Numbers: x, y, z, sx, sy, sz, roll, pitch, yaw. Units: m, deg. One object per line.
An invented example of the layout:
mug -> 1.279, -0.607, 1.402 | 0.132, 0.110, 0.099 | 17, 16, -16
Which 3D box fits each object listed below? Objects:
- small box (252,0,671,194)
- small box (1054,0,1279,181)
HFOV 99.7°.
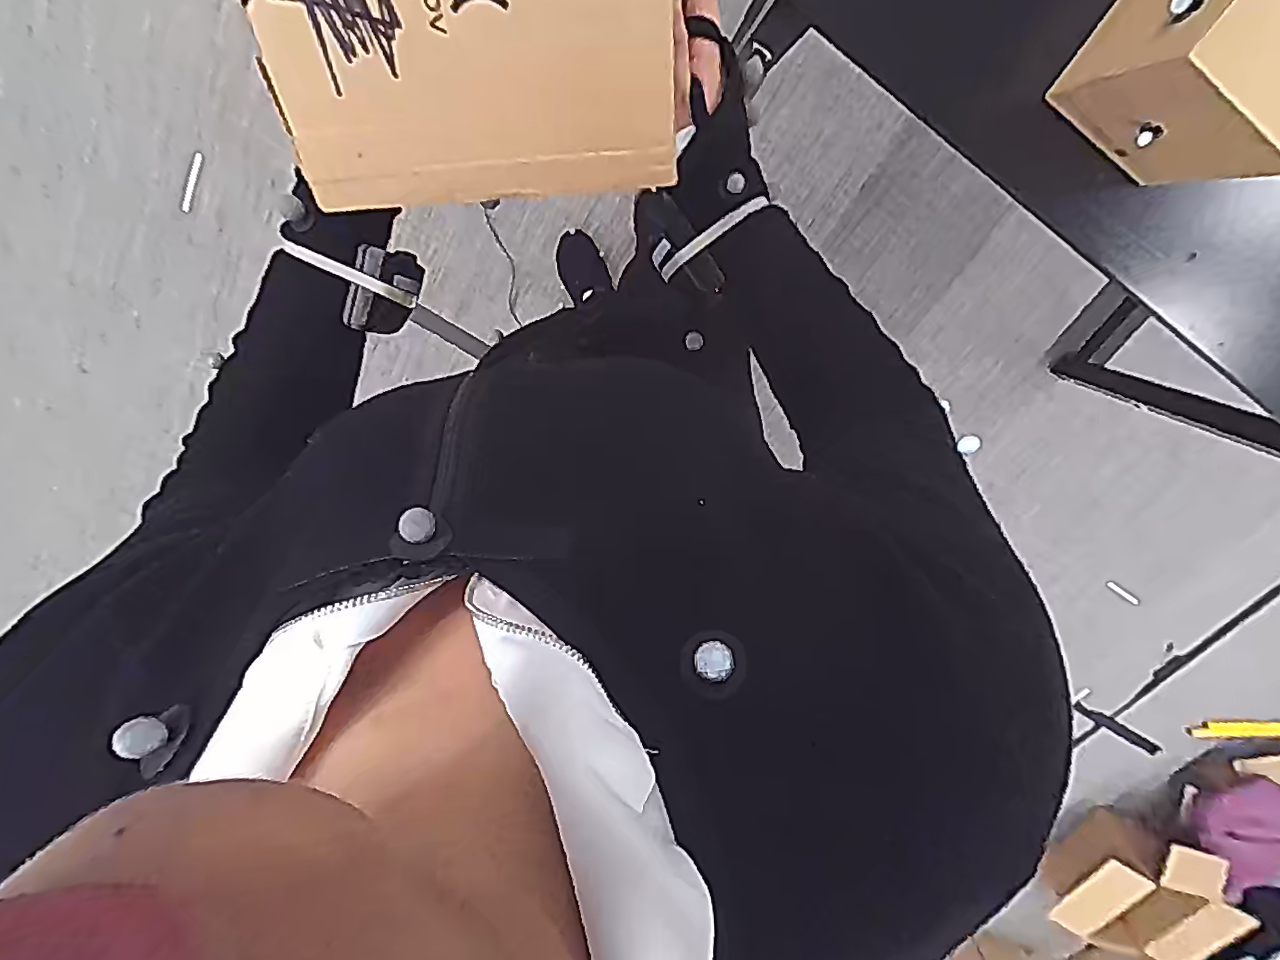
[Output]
small box -> -0.078, -0.260, 0.278 | 0.179, 0.176, 0.168 | -5, 131, -1
small box -> 0.545, -0.410, 0.508 | 0.168, 0.176, 0.179 | 28, 111, -14
